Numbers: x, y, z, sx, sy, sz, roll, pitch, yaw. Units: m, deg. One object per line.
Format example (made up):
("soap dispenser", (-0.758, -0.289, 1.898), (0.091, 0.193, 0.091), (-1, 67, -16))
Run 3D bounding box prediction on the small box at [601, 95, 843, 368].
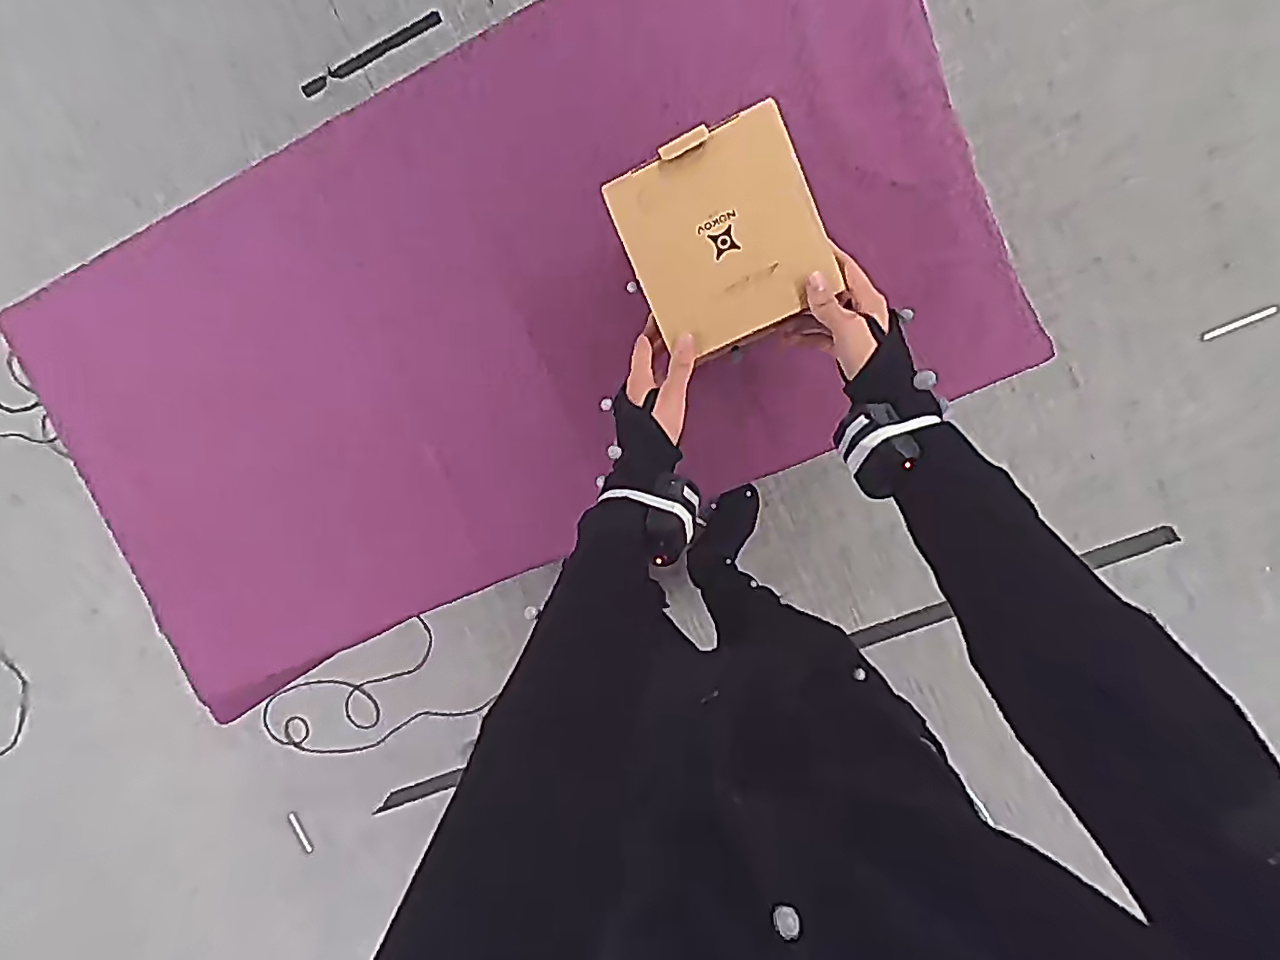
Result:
("small box", (0.078, -0.226, 0.548), (0.168, 0.176, 0.179), (-22, 97, 10))
